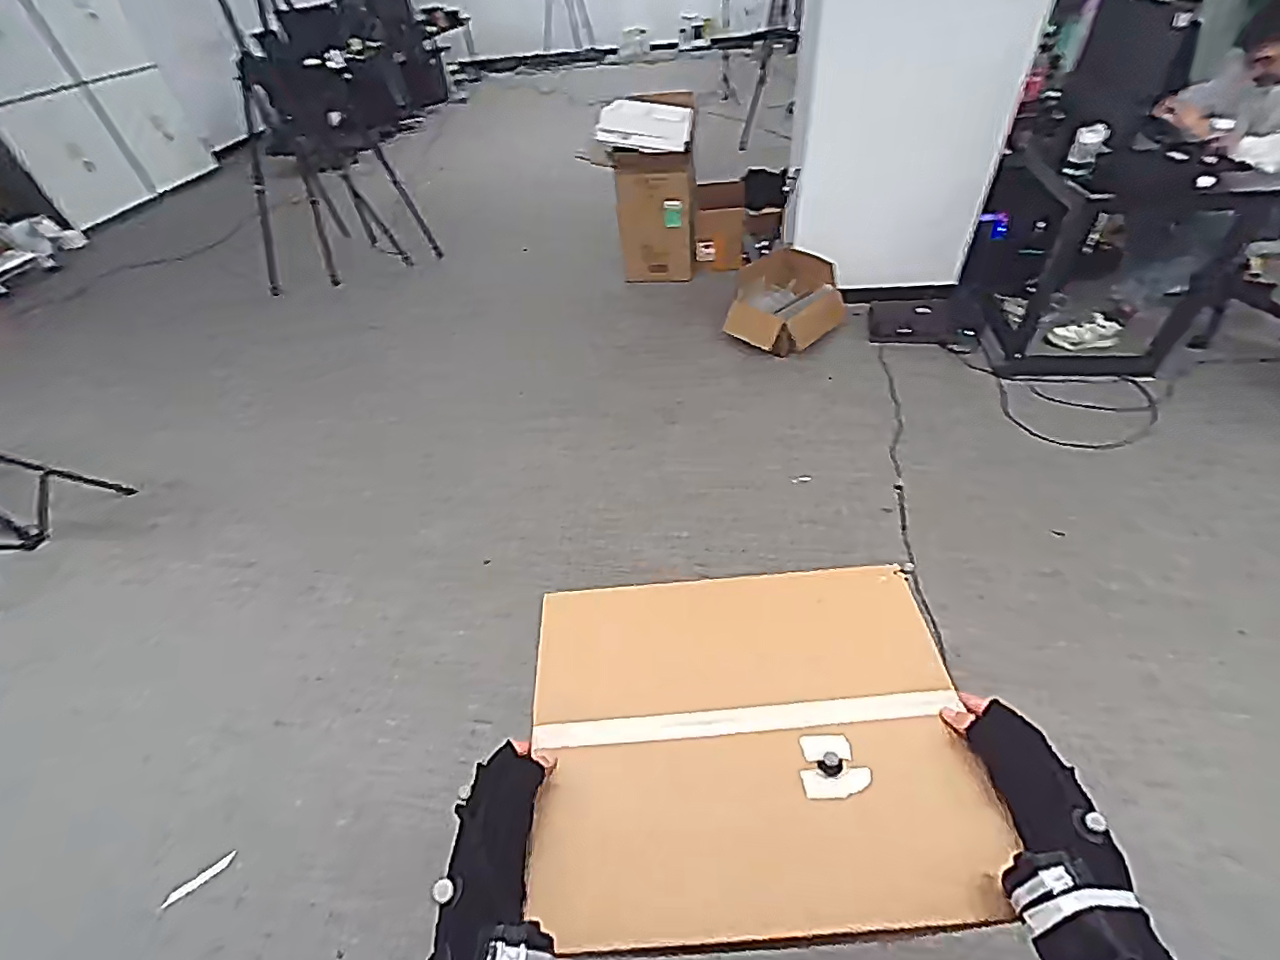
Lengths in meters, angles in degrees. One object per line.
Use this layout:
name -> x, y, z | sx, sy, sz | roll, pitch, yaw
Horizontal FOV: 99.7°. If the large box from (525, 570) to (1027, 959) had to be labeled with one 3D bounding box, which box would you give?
large box -> 0.103, 0.336, 0.626 | 0.408, 0.320, 0.320 | -5, 48, 0
